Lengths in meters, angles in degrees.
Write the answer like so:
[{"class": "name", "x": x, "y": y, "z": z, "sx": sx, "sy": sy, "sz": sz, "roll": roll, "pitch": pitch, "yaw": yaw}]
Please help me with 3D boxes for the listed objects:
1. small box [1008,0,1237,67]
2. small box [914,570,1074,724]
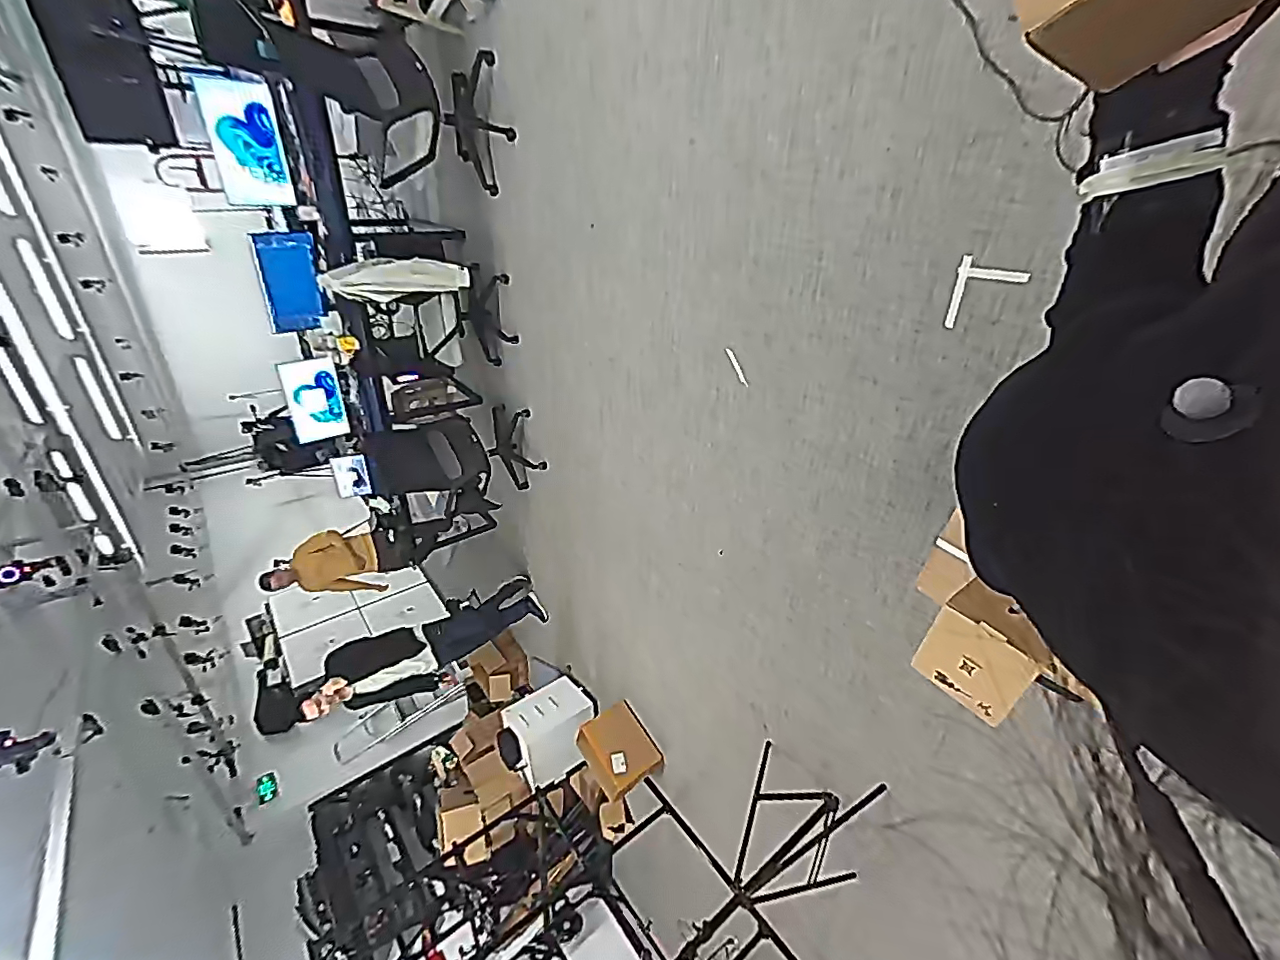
[{"class": "small box", "x": 0.251, "y": -0.317, "z": 0.226, "sx": 0.168, "sy": 0.176, "sz": 0.179, "roll": -17, "pitch": 93, "yaw": 52}, {"class": "small box", "x": 0.647, "y": 0.294, "z": 0.989, "sx": 0.168, "sy": 0.176, "sz": 0.179, "roll": 39, "pitch": 135, "yaw": 39}]
